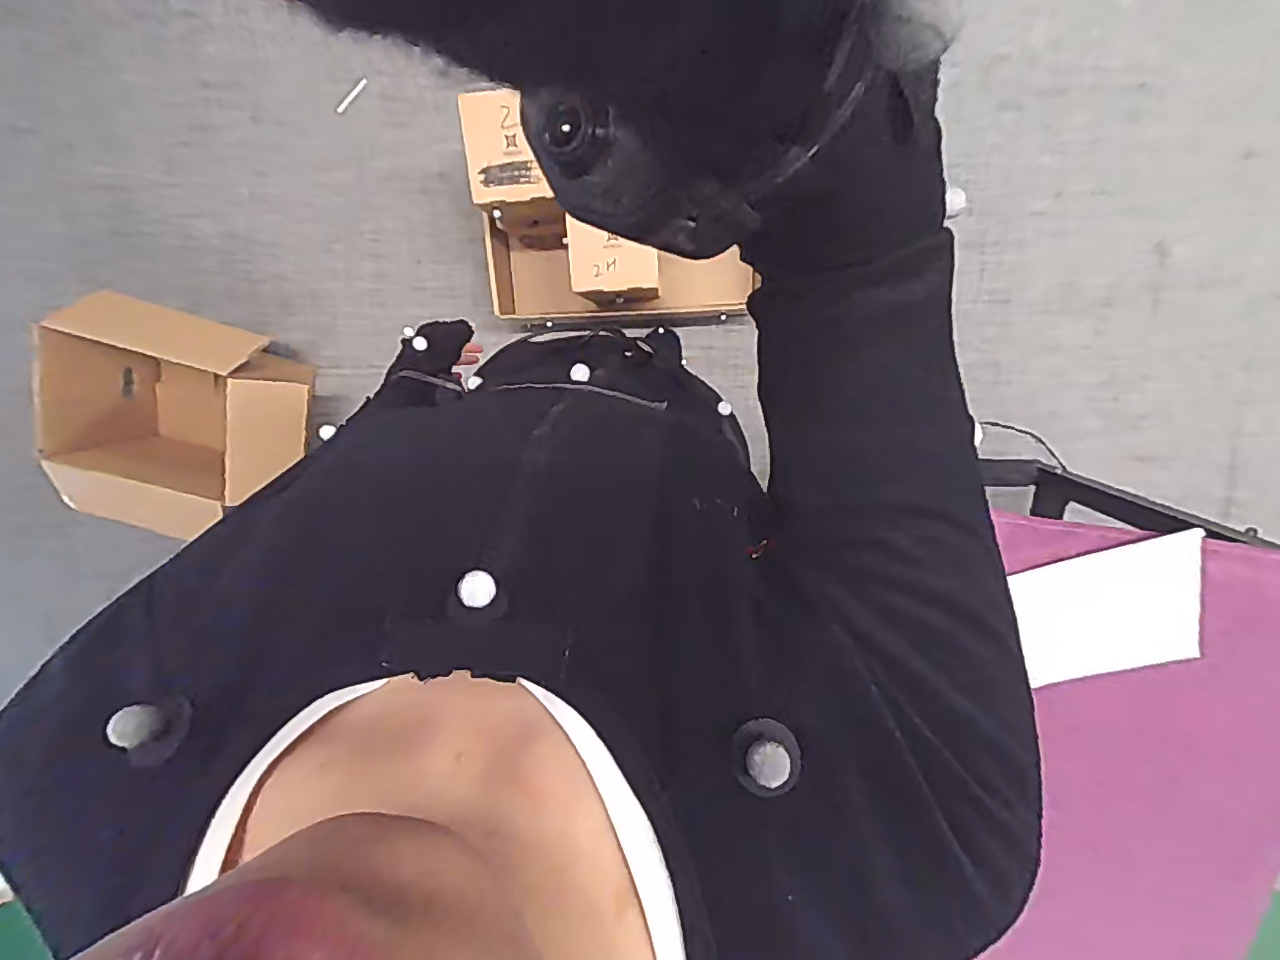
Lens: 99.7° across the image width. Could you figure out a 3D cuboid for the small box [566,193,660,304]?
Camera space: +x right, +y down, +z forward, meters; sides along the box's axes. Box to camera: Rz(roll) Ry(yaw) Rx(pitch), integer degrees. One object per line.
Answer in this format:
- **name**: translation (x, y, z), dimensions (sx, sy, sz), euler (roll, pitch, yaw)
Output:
- **small box**: translation (-0.048, -0.446, 1.064), dimensions (0.168, 0.176, 0.179), euler (-2, 105, 2)
